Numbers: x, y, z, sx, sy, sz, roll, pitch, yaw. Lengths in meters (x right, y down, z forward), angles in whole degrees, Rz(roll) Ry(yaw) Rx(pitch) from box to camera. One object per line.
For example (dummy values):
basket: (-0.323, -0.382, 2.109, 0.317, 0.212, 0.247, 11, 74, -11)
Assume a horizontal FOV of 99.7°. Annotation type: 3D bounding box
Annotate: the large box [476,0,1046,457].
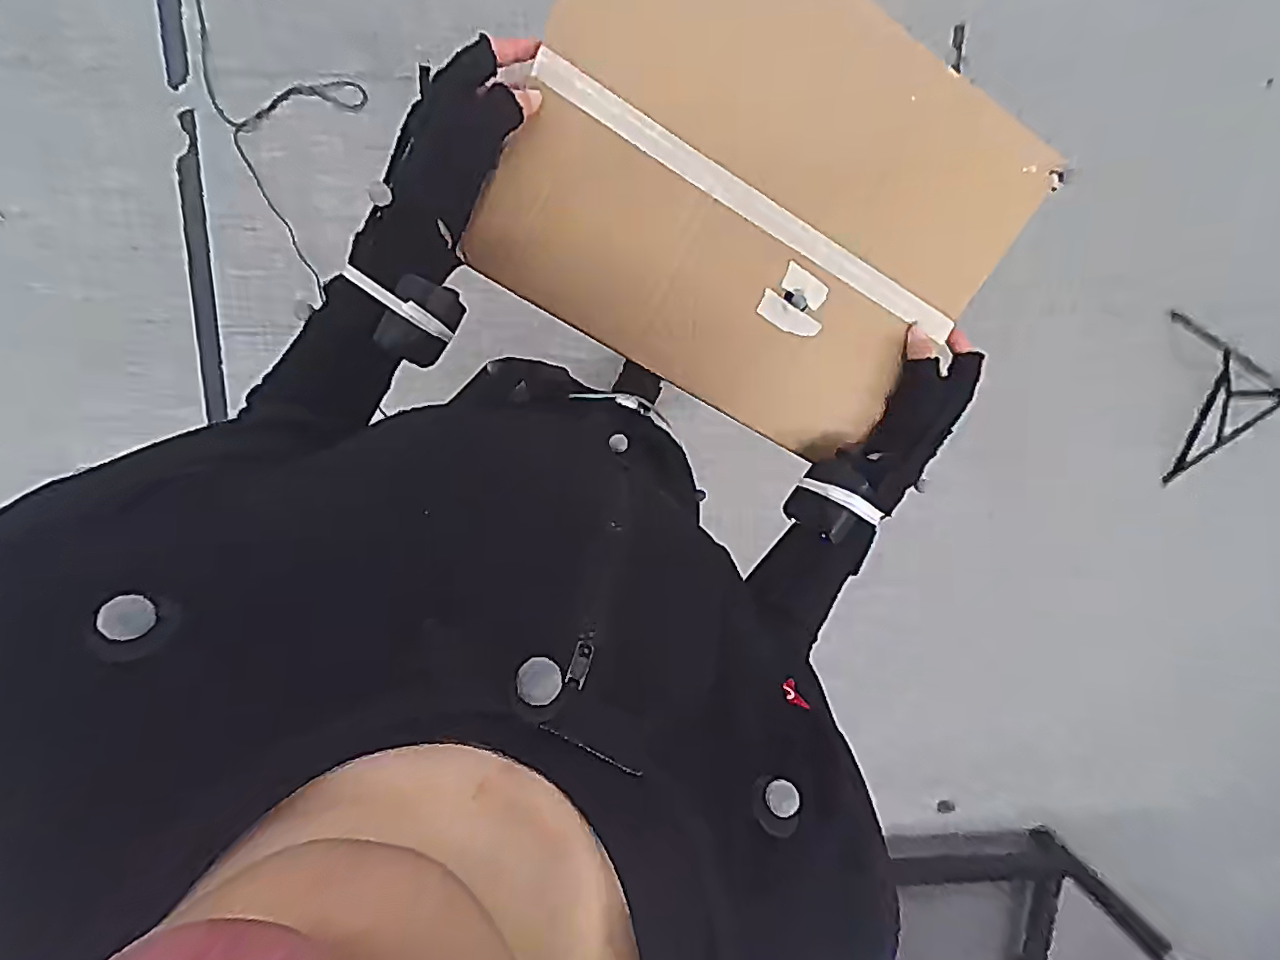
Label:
large box: (0.093, -0.282, 0.599, 0.408, 0.320, 0.320, 27, 107, -12)
